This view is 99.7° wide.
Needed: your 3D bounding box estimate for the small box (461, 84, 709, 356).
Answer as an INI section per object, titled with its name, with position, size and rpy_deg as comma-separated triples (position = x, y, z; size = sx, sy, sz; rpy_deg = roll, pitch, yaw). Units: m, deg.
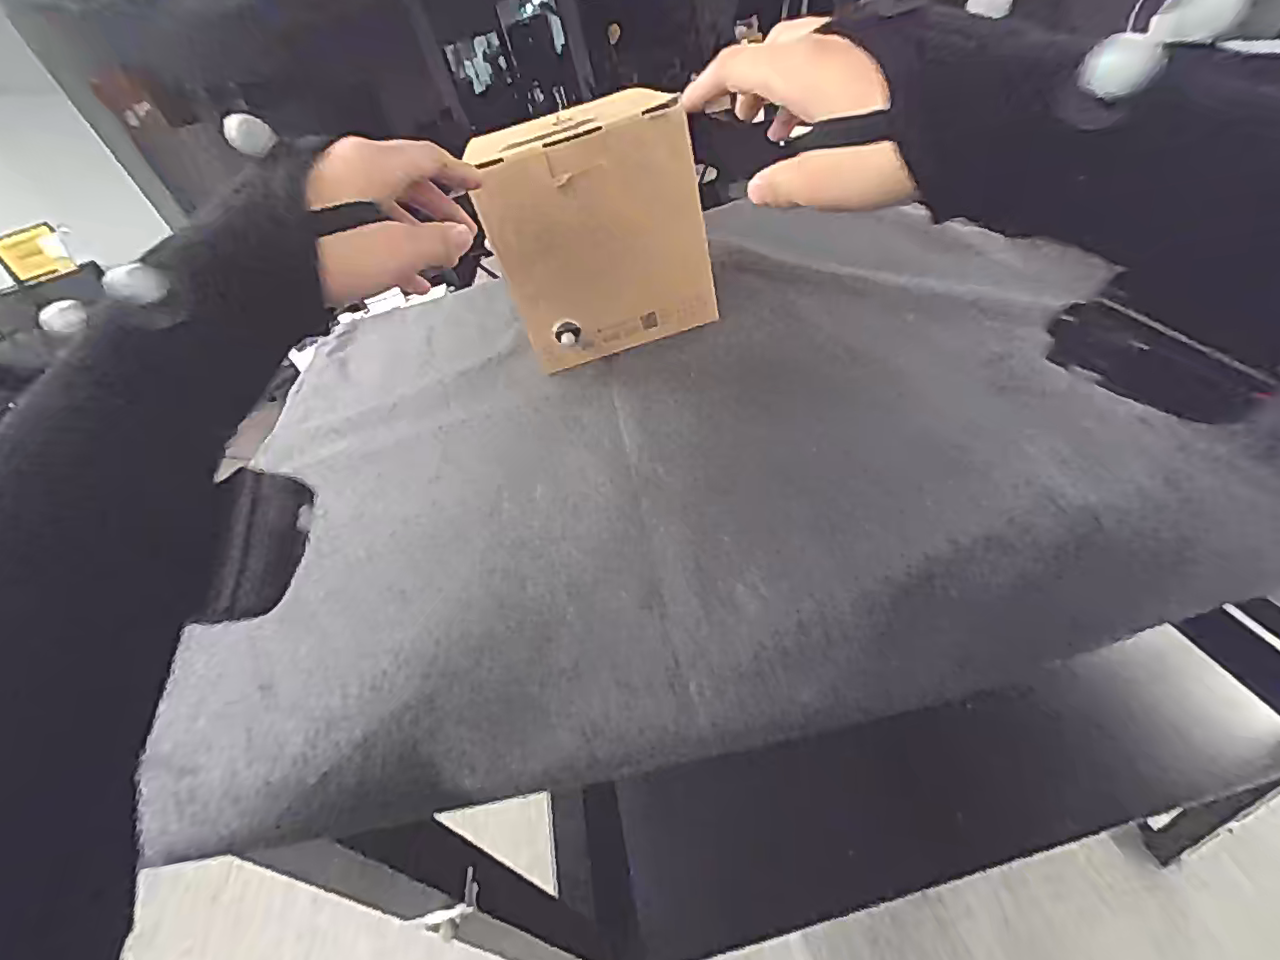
[small box]
position = -0.045, -0.232, 0.493
size = 0.168, 0.176, 0.179
rpy_deg = -18, 39, 0
